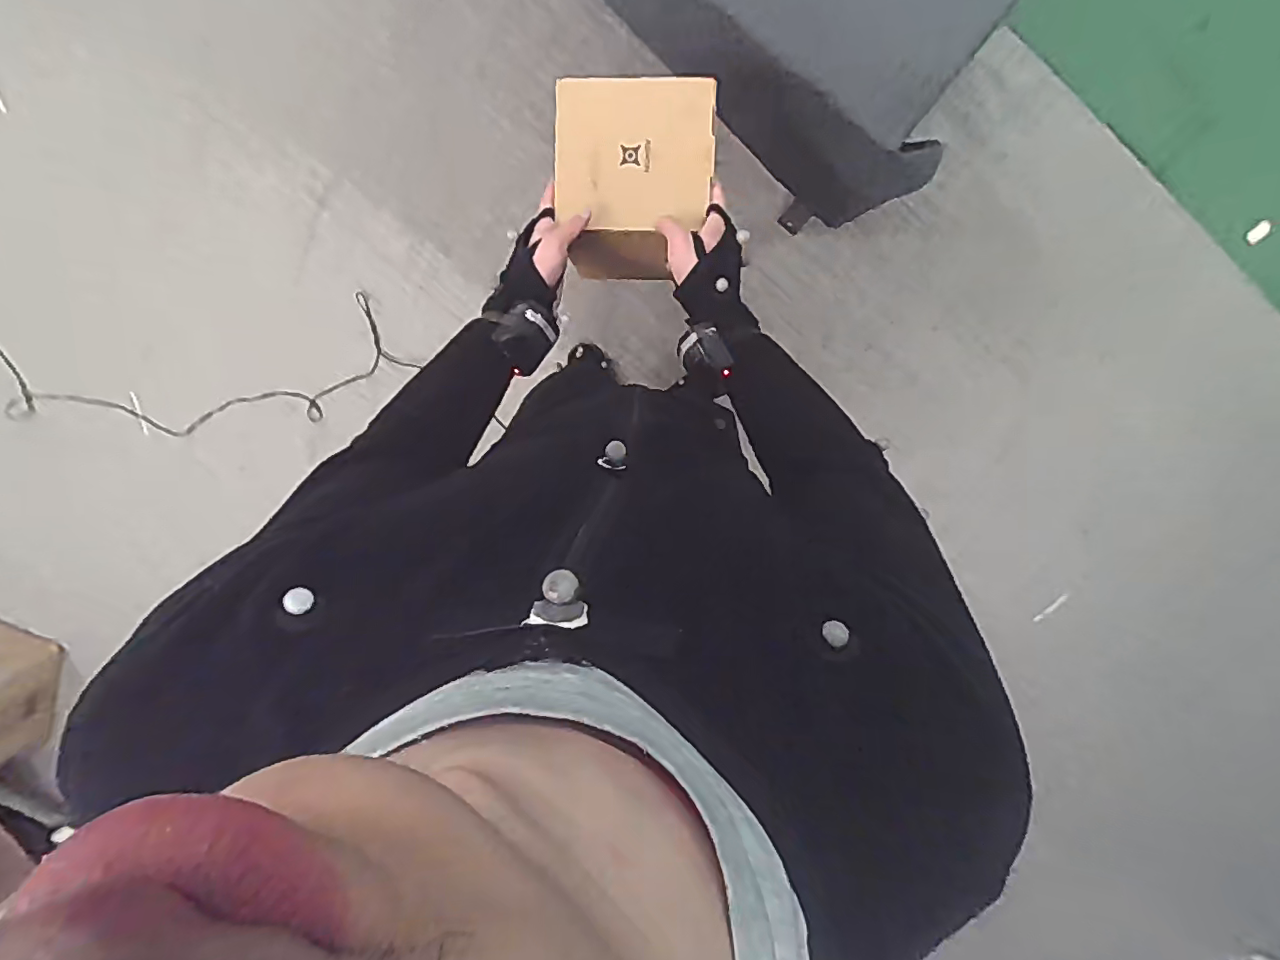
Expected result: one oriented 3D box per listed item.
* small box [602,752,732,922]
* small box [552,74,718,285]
[{"bbox_3d":[0.053,0.669,1.028,0.168,0.176,0.179,40,103,-7],"label":"small box"},{"bbox_3d":[-0.003,-0.344,0.650,0.179,0.176,0.168,-1,90,2],"label":"small box"}]
